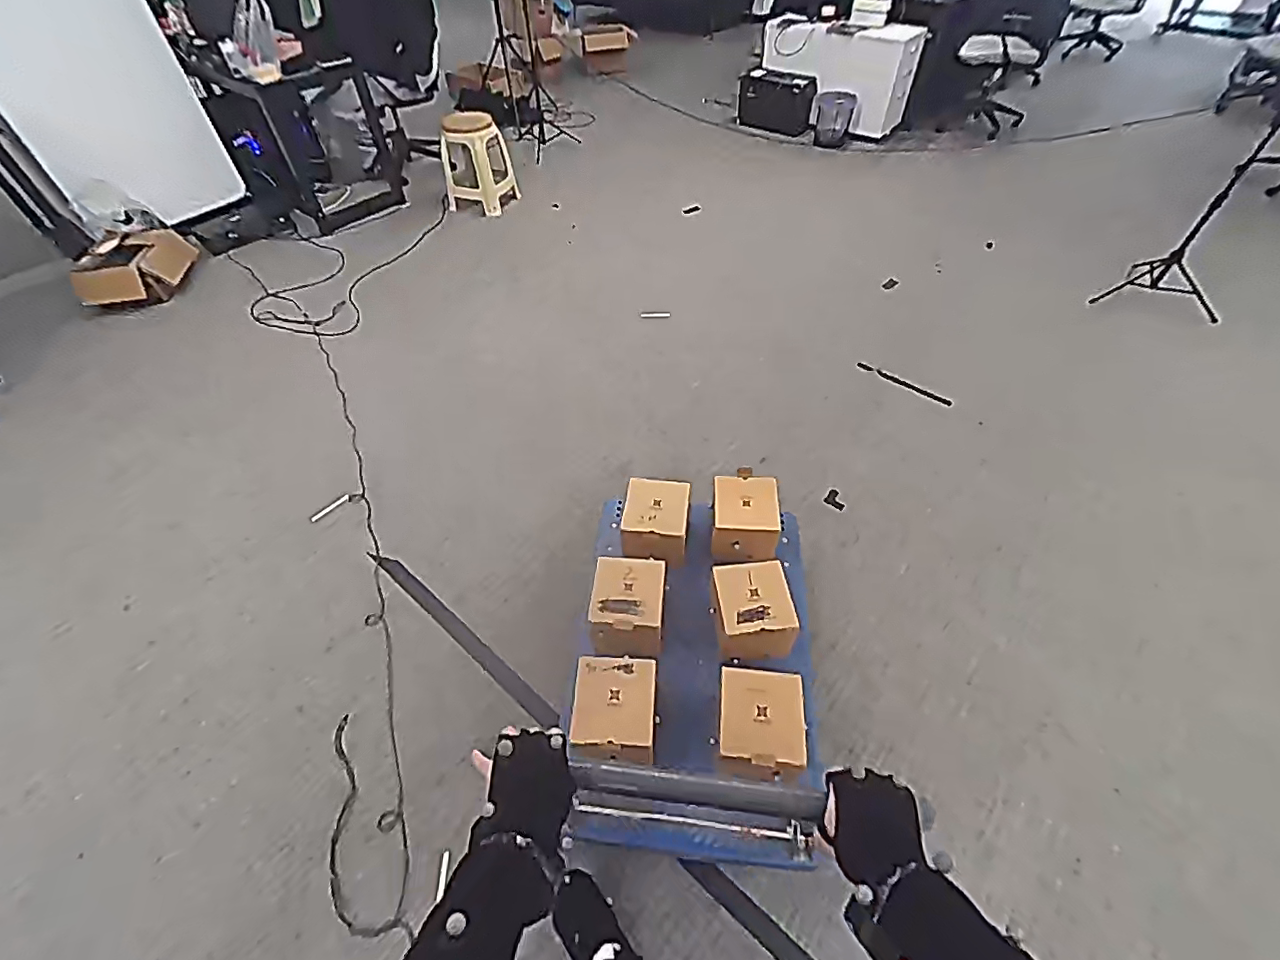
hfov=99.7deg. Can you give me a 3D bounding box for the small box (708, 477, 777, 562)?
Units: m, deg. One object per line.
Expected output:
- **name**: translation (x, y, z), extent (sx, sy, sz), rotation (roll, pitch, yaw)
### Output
- **small box**: translation (0.277, 0.111, 1.483), extent (0.168, 0.176, 0.179), rotation (2, 50, 4)

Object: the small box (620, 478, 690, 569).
- **small box**: translation (0.042, 0.119, 1.479), extent (0.168, 0.176, 0.179), rotation (6, 51, 7)

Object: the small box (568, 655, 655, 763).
- **small box**: translation (-0.054, 0.497, 1.167), extent (0.168, 0.176, 0.179), rotation (2, 51, 3)

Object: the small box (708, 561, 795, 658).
- **small box**: translation (0.261, 0.319, 1.308), extent (0.168, 0.176, 0.179), rotation (-5, 49, -2)

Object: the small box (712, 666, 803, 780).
- **small box**: translation (0.243, 0.517, 1.143), extent (0.168, 0.176, 0.179), rotation (5, 50, 6)
